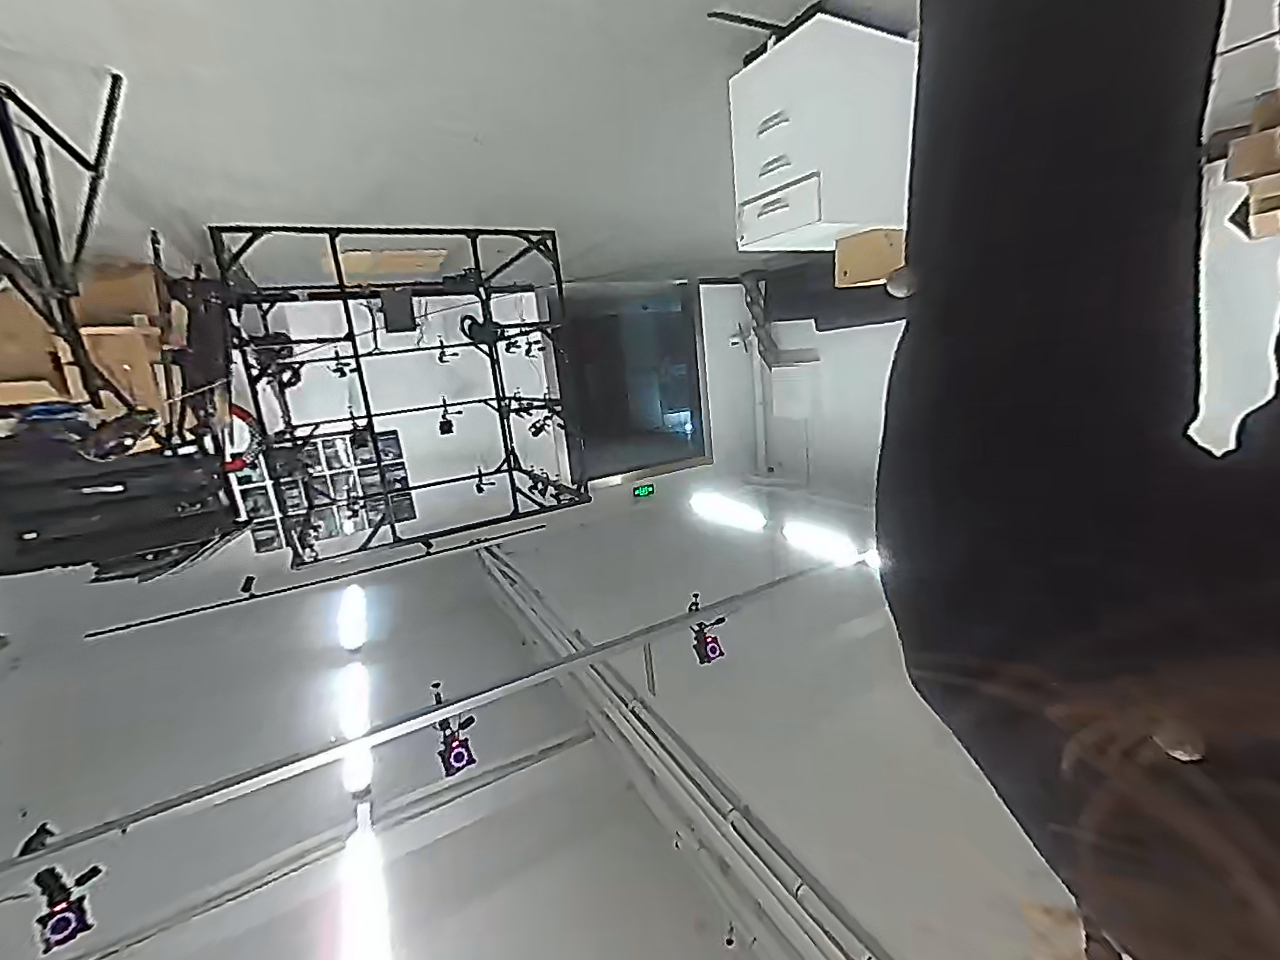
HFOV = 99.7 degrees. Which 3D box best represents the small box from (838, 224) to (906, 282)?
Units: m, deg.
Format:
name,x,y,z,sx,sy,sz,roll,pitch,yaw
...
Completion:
name,x,y,z,sx,sy,sz,roll,pitch,yaw
small box,0.846,-0.822,1.967,0.168,0.176,0.179,-13,-164,-27
